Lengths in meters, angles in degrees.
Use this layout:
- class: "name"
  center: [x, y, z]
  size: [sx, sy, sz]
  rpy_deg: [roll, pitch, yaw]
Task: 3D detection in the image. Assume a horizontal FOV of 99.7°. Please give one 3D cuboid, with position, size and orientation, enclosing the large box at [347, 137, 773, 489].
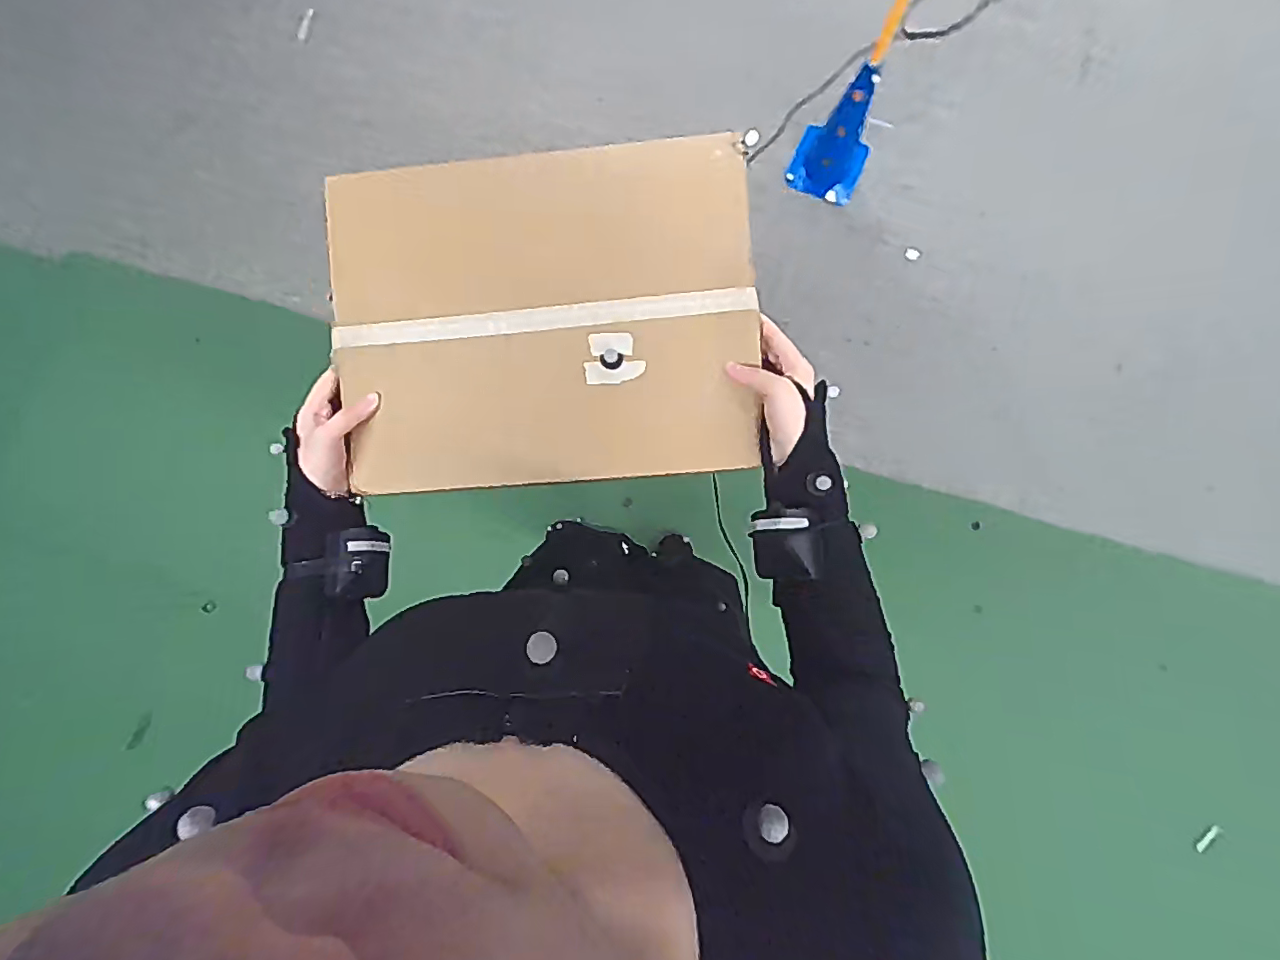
- class: "large box"
  center: [-0.076, -0.160, 0.670]
  size: [0.408, 0.320, 0.320]
  rpy_deg: [-4, 91, 2]

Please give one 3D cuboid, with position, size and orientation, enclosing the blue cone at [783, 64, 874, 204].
- class: "blue cone"
  center: [0.521, -0.920, 1.404]
  size: [0.193, 0.380, 0.192]
  rpy_deg: [25, 88, 4]
